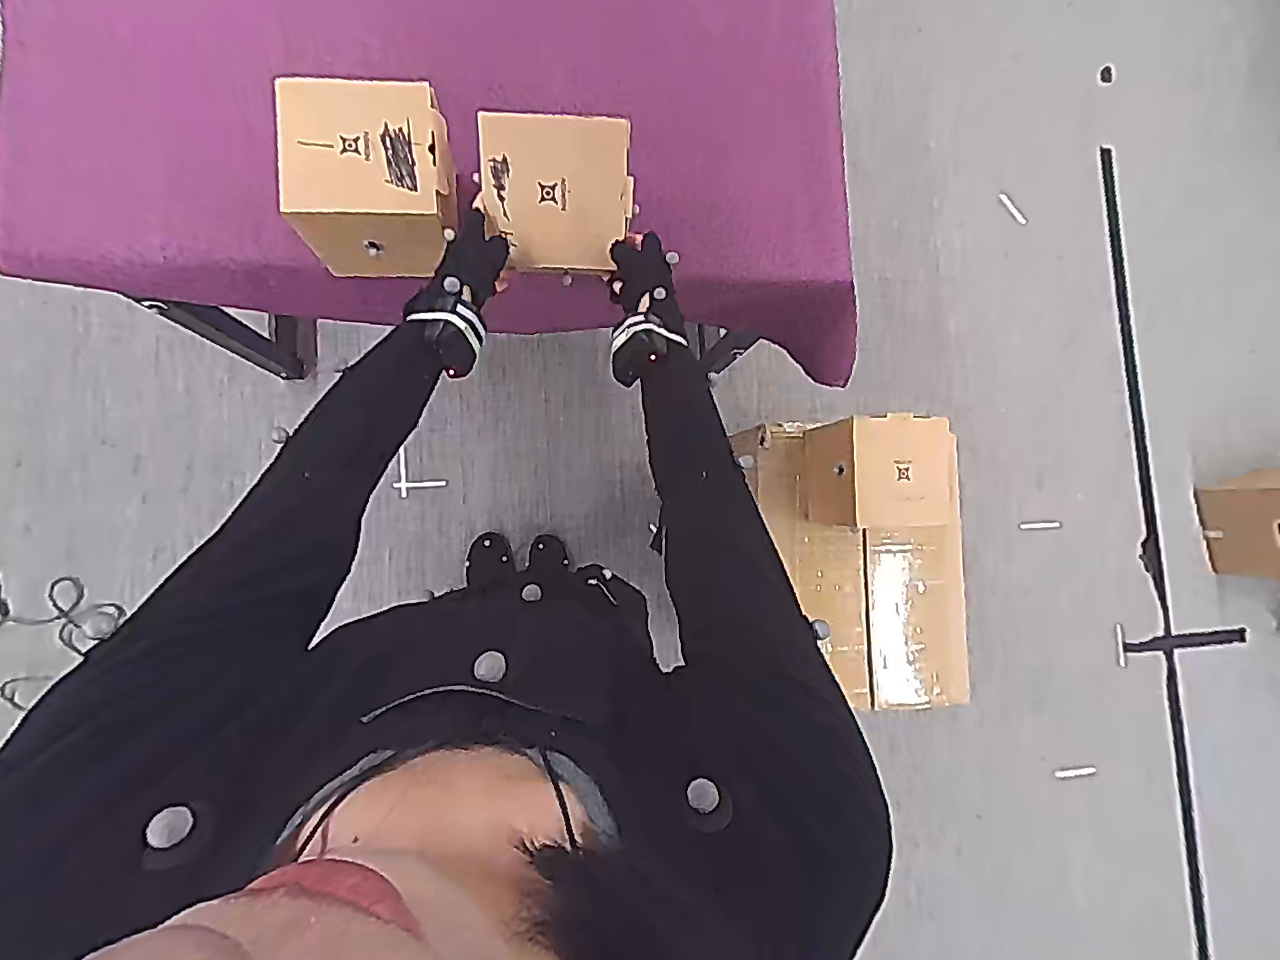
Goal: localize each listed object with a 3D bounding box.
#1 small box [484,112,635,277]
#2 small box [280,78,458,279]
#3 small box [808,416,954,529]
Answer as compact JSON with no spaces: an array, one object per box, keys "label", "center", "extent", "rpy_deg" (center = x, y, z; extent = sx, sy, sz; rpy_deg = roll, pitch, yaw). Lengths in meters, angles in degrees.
[{"label":"small box","center":[-0.102,-0.365,0.723],"extent":[0.179,0.176,0.168],"rpy_deg":[1,107,-4]},{"label":"small box","center":[-0.340,-0.381,0.713],"extent":[0.179,0.176,0.168],"rpy_deg":[-3,85,-9]},{"label":"small box","center":[0.397,-0.008,0.918],"extent":[0.168,0.176,0.179],"rpy_deg":[-1,87,-8]}]
